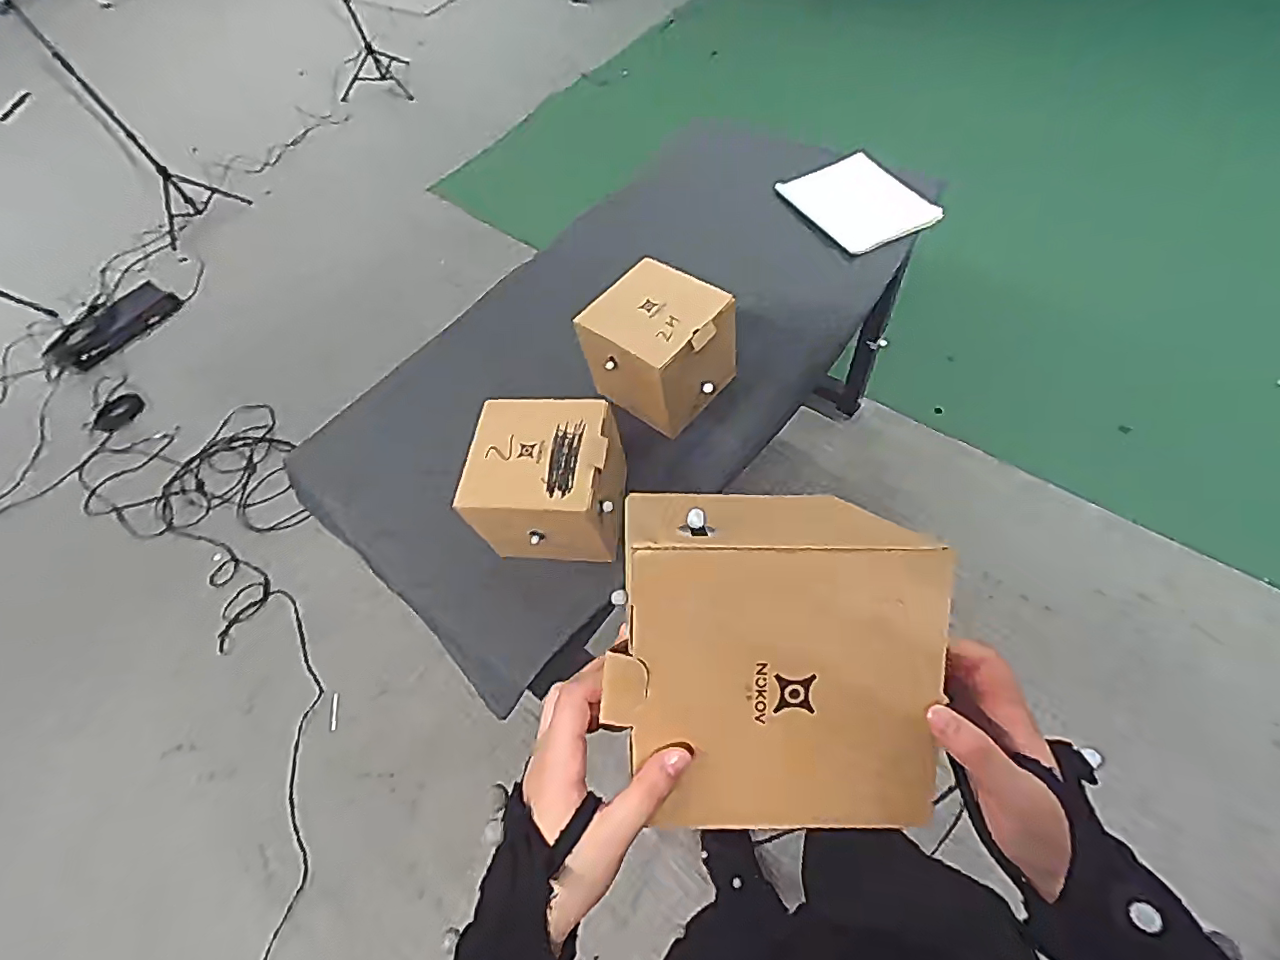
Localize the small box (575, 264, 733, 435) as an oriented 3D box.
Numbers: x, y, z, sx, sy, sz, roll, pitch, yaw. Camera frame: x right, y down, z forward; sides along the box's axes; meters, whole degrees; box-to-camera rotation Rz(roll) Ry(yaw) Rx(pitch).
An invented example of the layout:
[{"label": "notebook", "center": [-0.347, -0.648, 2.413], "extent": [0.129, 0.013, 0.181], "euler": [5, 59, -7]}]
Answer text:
[{"label": "small box", "center": [0.030, -0.200, 0.853], "extent": [0.179, 0.176, 0.168], "euler": [35, 72, 26]}]
